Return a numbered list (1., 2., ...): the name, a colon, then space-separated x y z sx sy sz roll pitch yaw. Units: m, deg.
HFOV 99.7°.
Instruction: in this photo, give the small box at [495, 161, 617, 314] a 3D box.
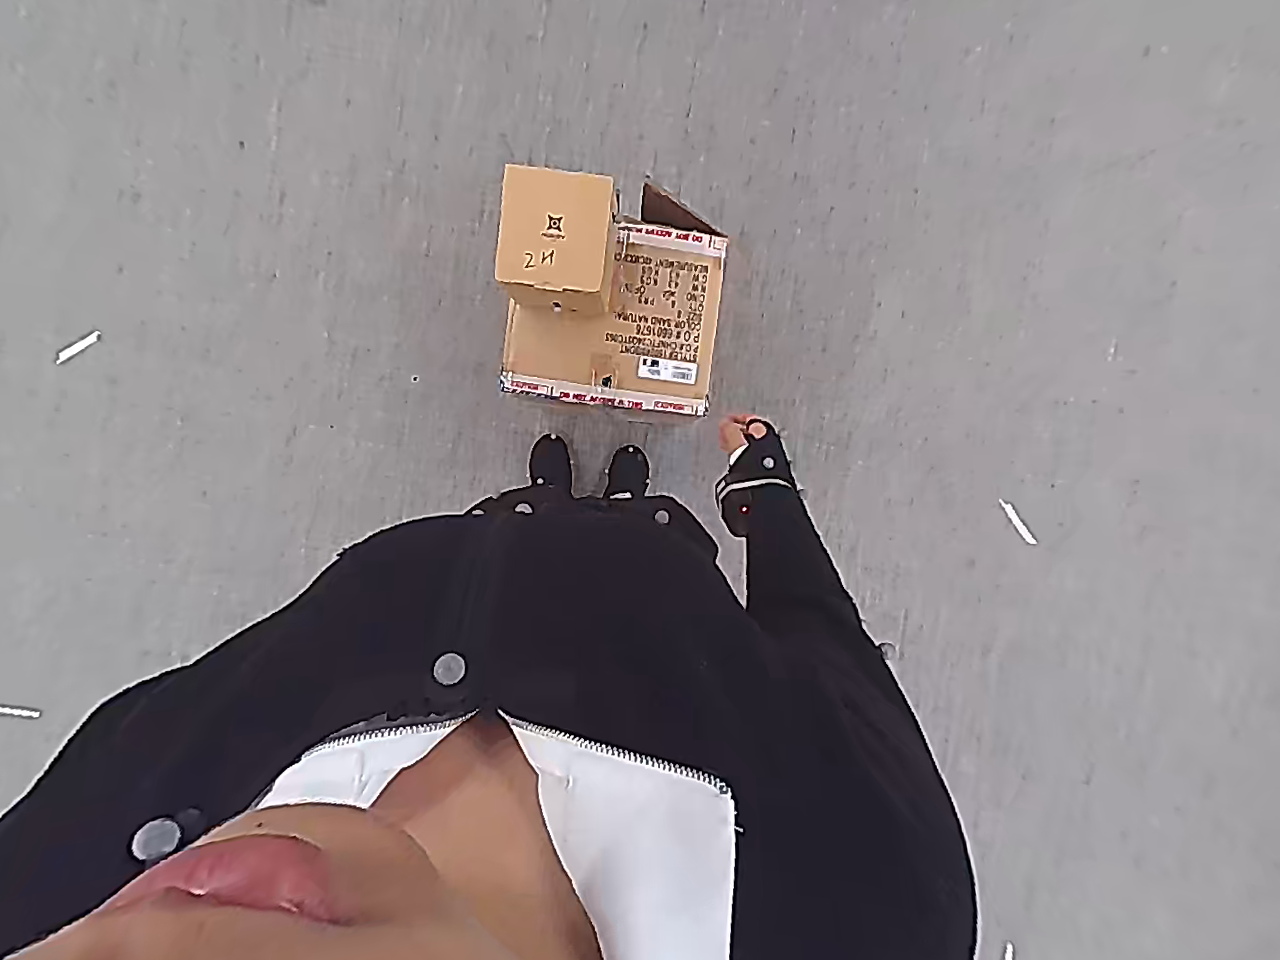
1. small box: -0.130 -0.388 0.895 0.168 0.176 0.179 7 96 0
